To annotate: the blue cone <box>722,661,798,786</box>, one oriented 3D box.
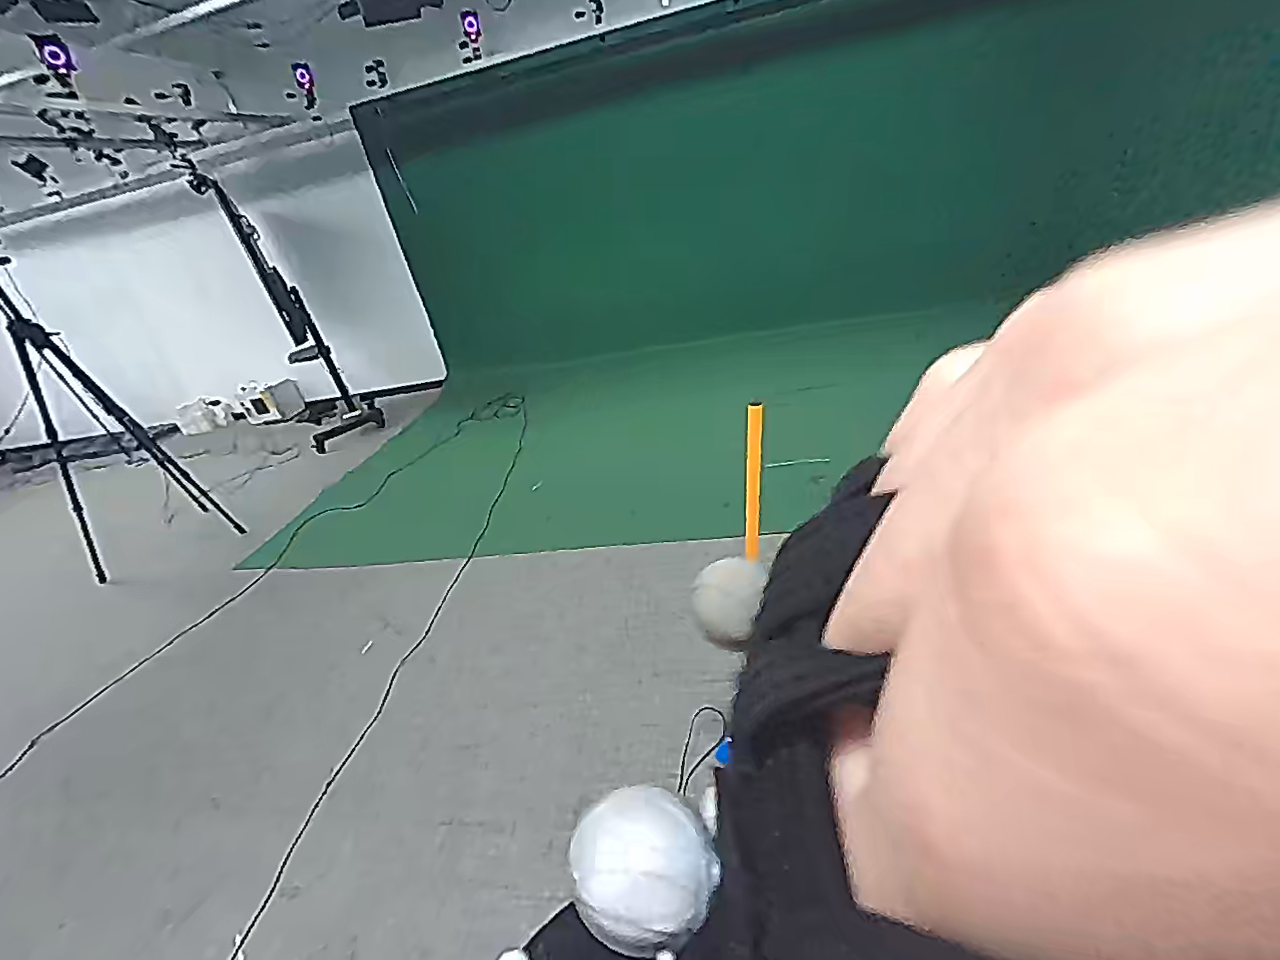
[{"bbox_3d":[0.330,0.661,1.549,0.192,0.380,0.193,15,38,39],"label":"blue cone"}]
